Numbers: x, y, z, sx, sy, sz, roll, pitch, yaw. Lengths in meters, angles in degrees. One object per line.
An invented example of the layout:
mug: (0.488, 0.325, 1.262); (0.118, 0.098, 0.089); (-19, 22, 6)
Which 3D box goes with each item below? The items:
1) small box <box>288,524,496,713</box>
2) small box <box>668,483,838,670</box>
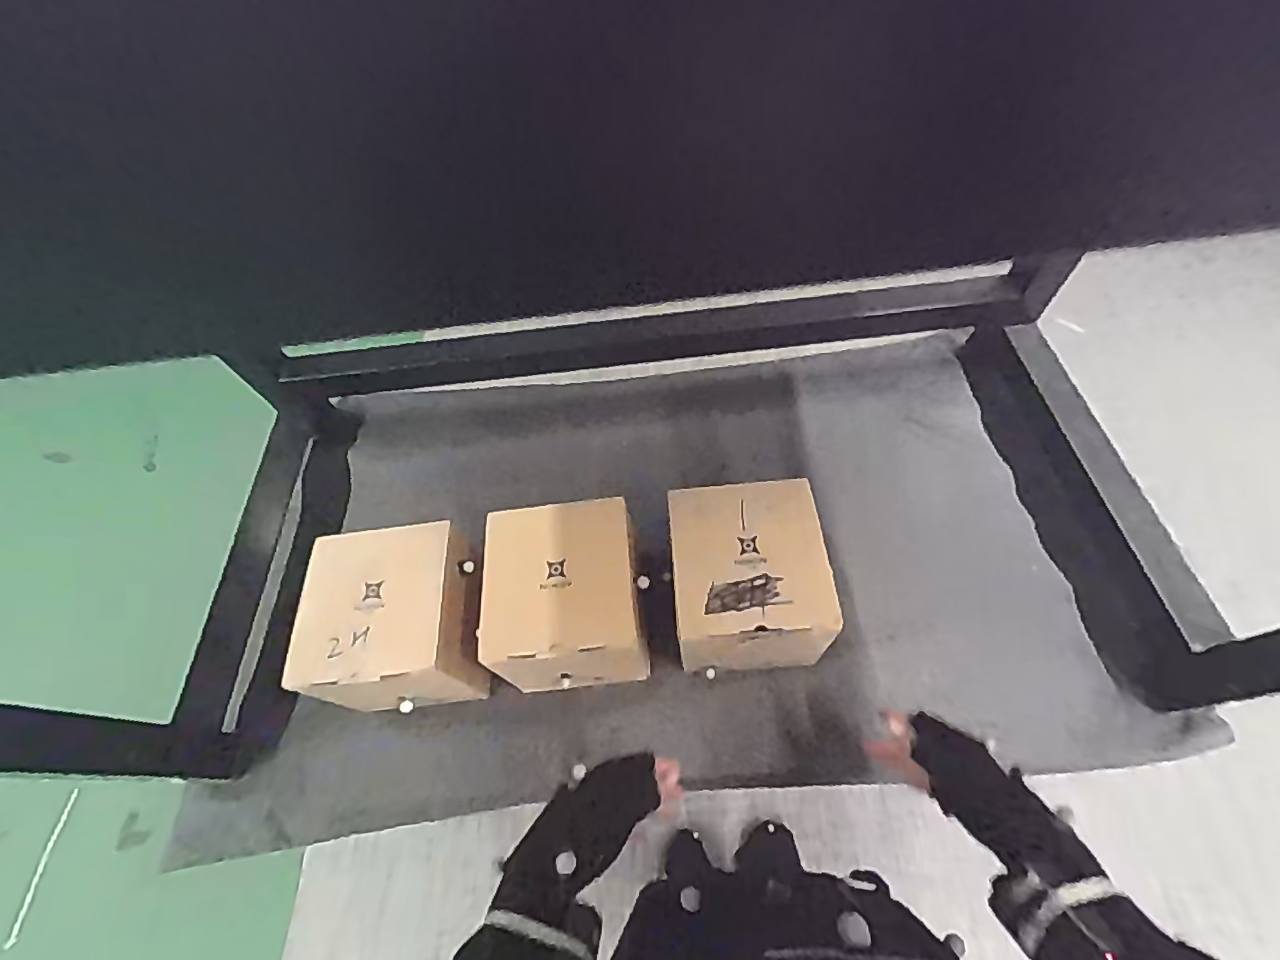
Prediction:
small box: (-0.285, 0.176, 0.670); (0.168, 0.176, 0.179); (-7, 58, 2)
small box: (0.125, 0.125, 0.655); (0.168, 0.176, 0.179); (-5, 57, 4)
